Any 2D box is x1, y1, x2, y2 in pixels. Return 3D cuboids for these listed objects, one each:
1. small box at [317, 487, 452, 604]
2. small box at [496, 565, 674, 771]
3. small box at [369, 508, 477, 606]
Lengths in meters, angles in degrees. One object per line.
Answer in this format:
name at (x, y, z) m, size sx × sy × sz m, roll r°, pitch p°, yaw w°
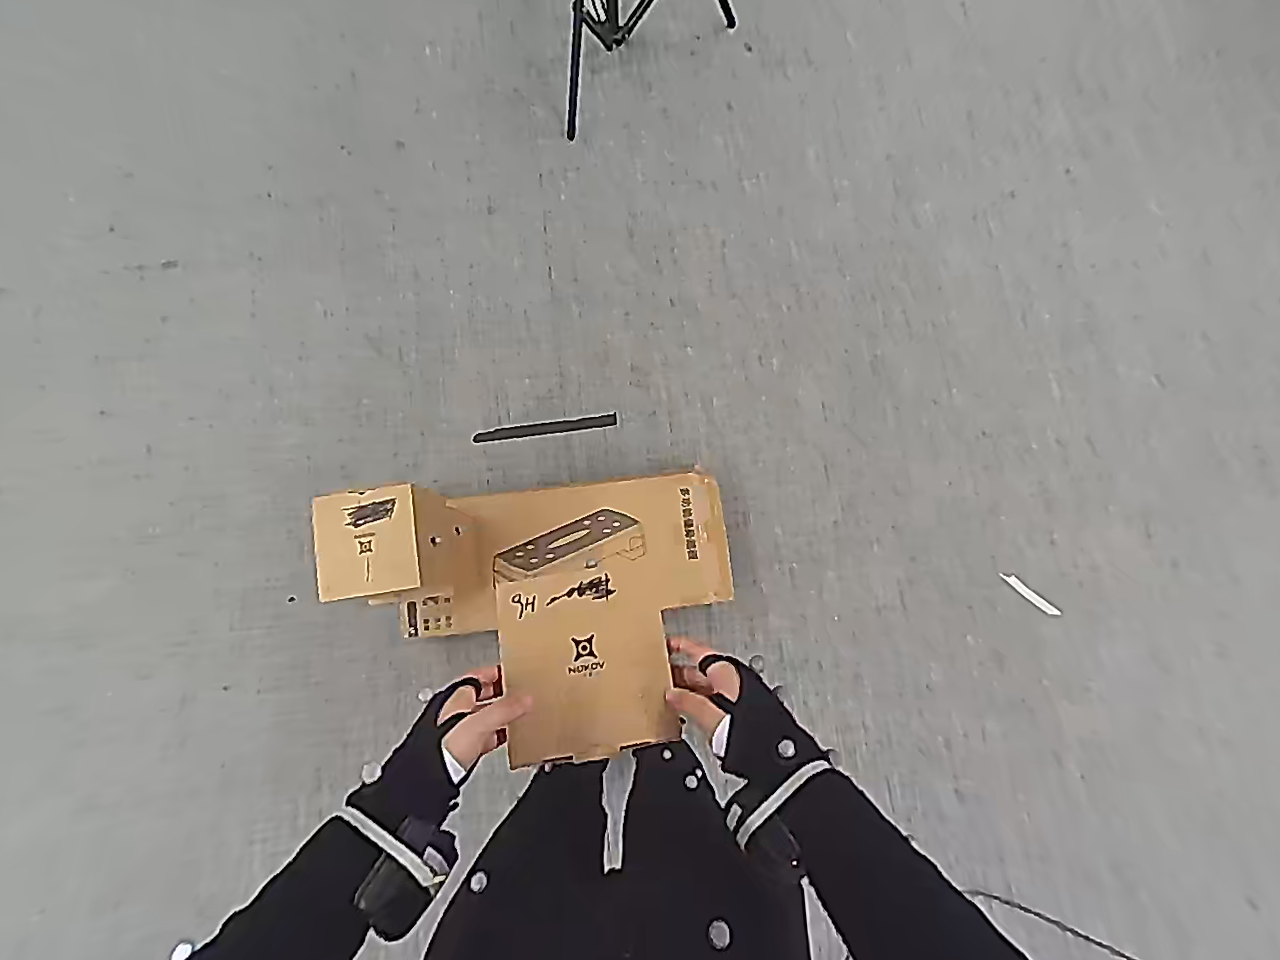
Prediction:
small box at (-0.448, 0.120, 0.967) m, size 0.168 × 0.176 × 0.179 m, roll -8°, pitch 81°, yaw -3°
small box at (-0.055, 0.207, 0.611) m, size 0.168 × 0.176 × 0.179 m, roll -9°, pitch 70°, yaw -2°
small box at (-0.447, 0.163, 1.126) m, size 0.168 × 0.176 × 0.179 m, roll -7°, pitch 81°, yaw -2°
